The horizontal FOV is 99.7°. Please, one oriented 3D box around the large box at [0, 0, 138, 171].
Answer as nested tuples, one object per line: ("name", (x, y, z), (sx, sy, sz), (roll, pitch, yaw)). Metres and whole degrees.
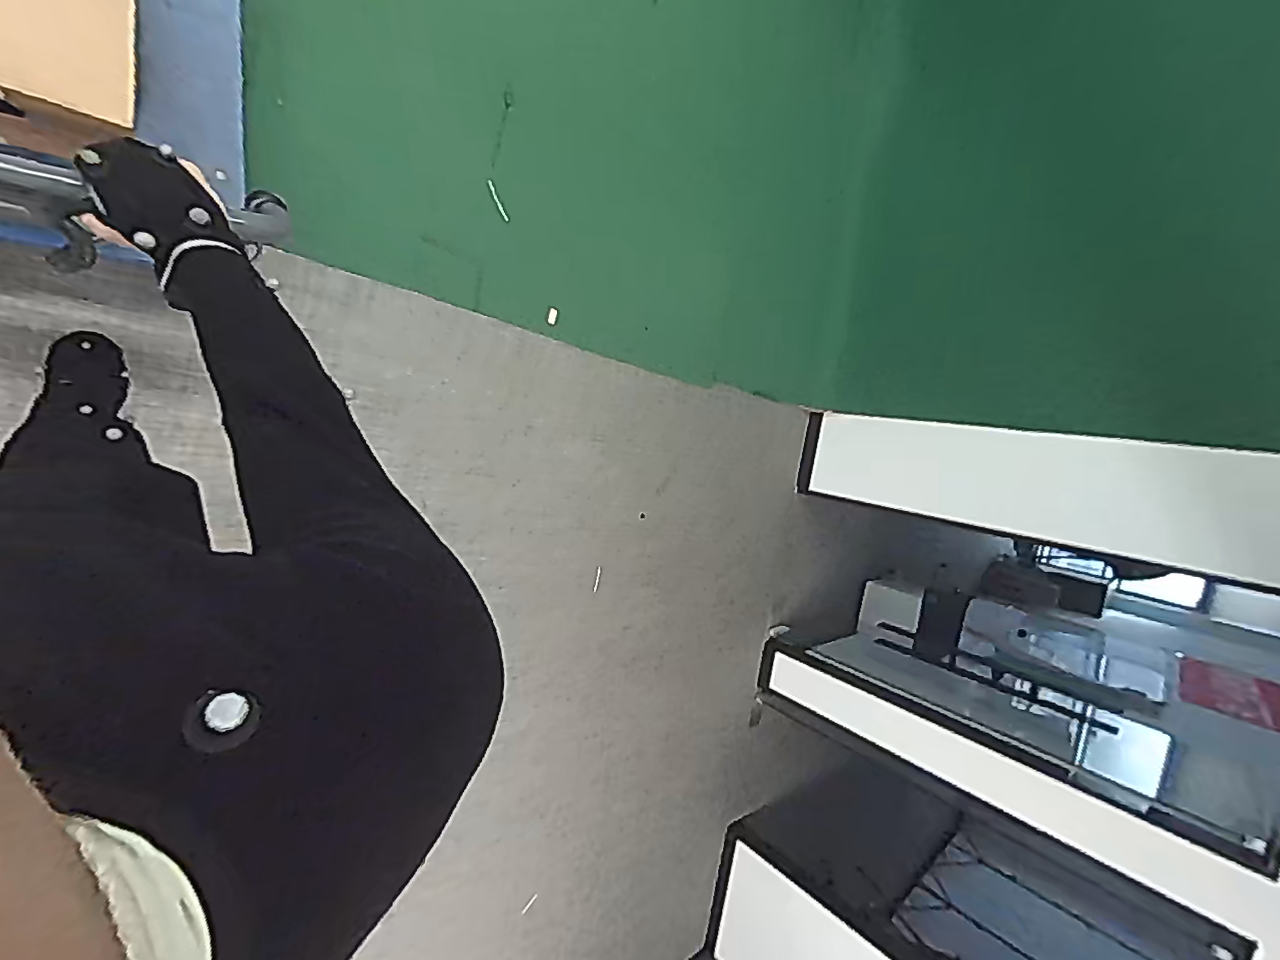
("large box", (-0.915, -0.725, 0.751), (0.320, 0.320, 0.408), (0, 100, -43))
